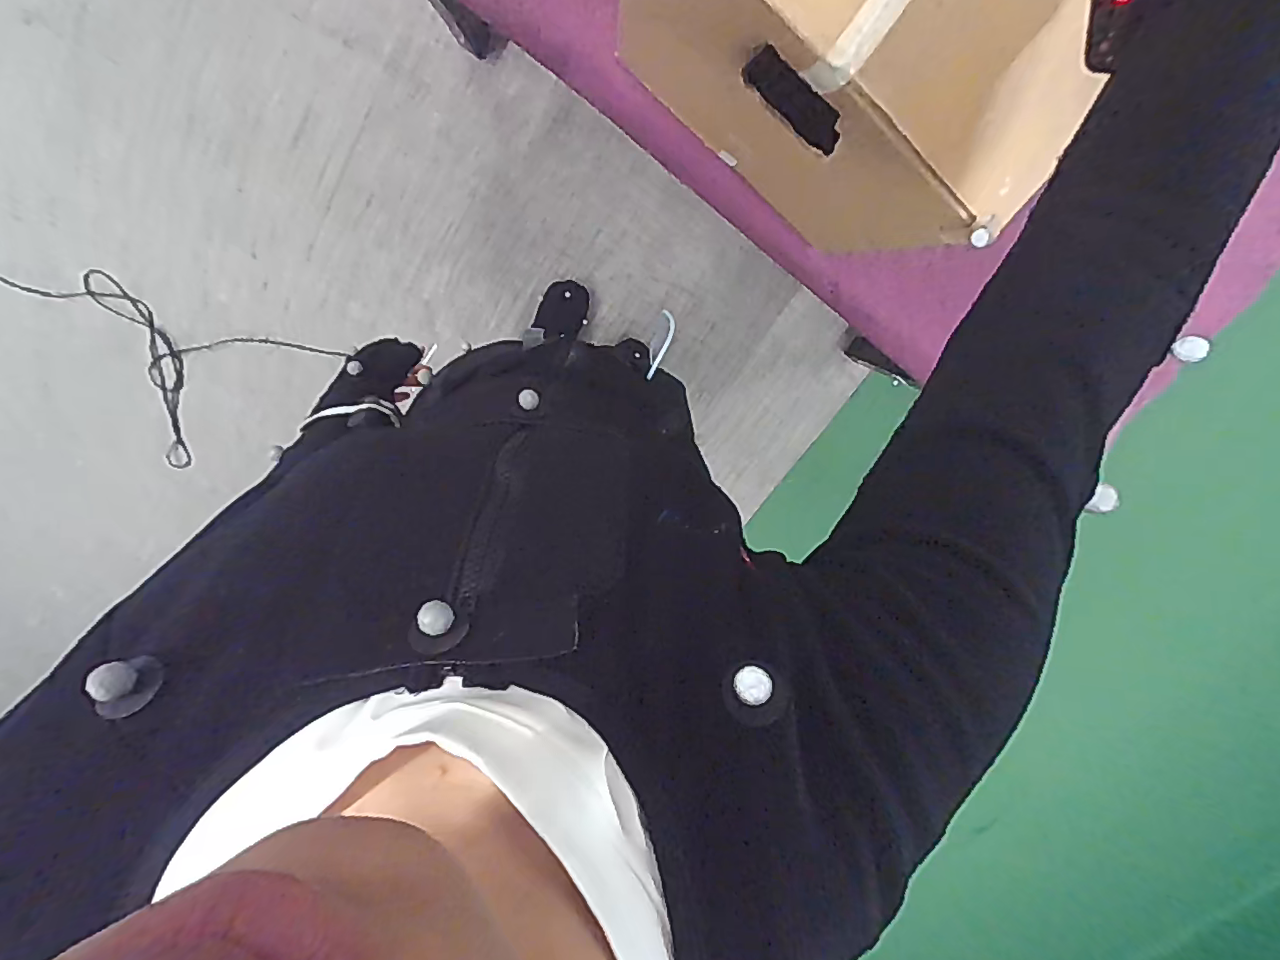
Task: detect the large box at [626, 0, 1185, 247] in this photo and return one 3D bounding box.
[{"bbox_3d":[0.229,-0.459,0.438,0.320,0.320,0.408,35,106,-16],"label":"large box"}]
